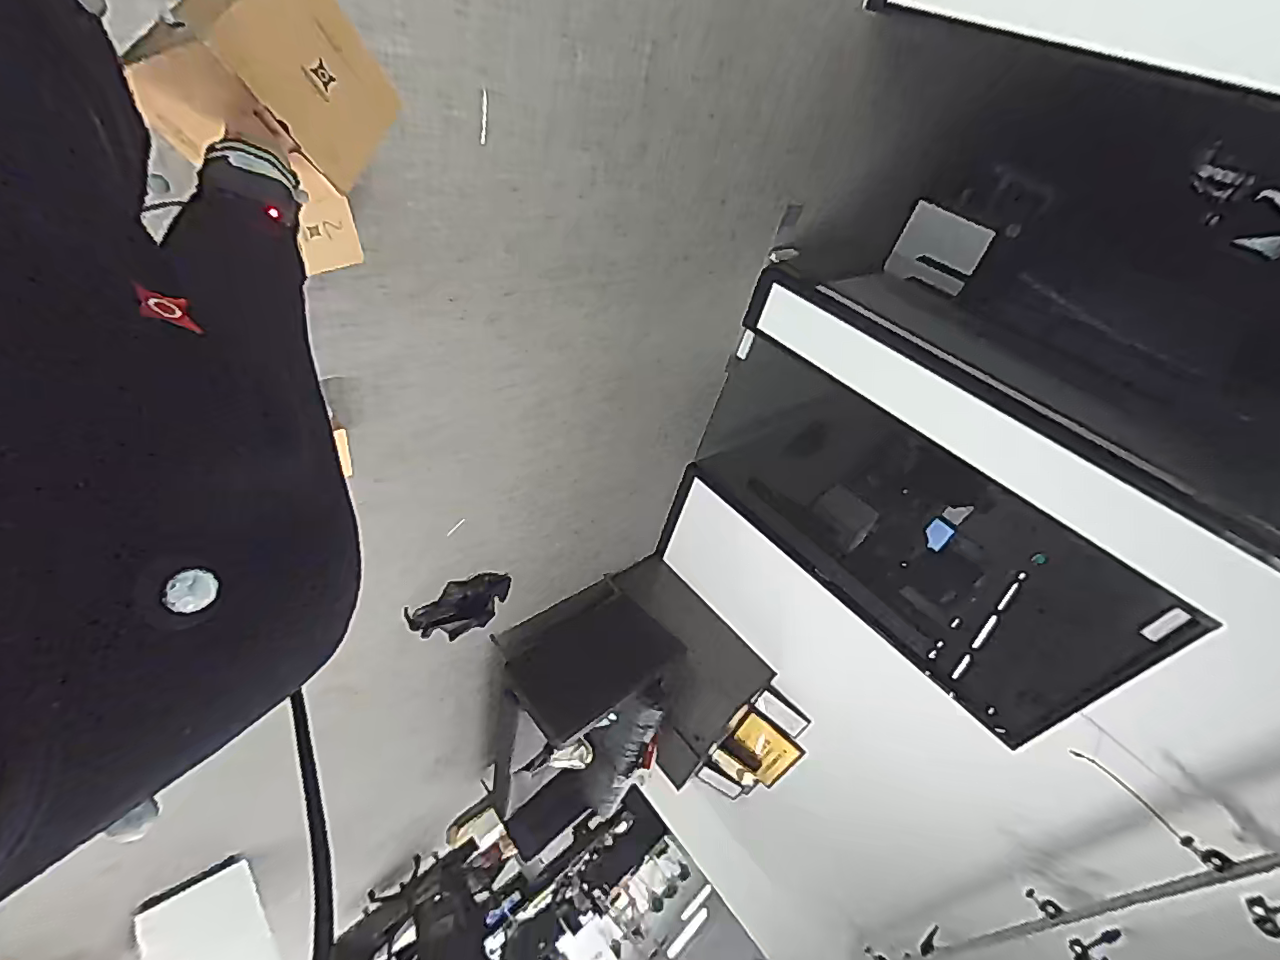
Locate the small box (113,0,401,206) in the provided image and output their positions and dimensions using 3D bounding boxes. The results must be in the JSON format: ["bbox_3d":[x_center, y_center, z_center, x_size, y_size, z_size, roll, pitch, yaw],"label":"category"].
[{"bbox_3d":[-0.412,-0.432,0.596,0.168,0.176,0.179,59,39,-58],"label":"small box"}]
